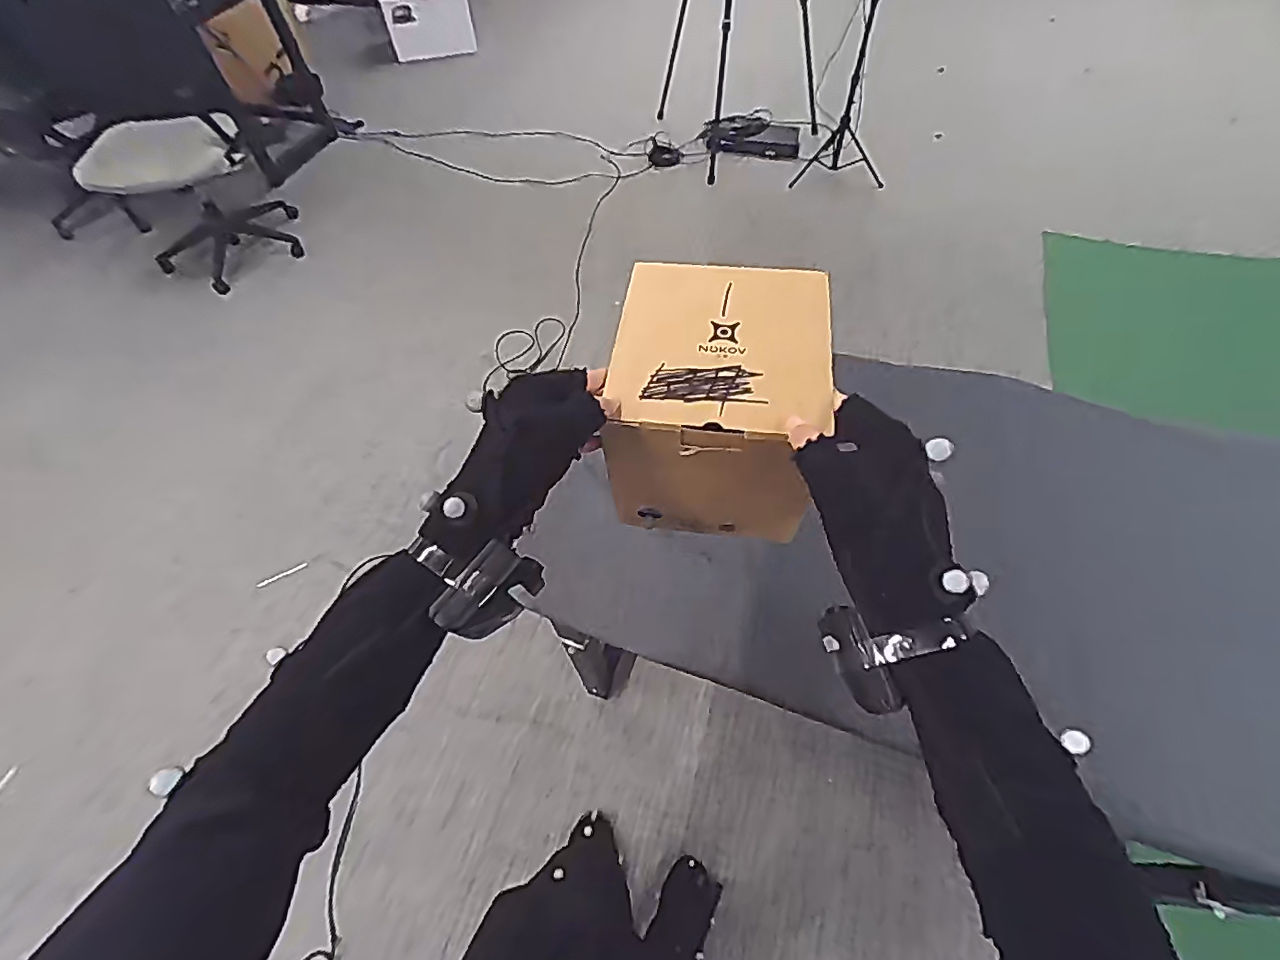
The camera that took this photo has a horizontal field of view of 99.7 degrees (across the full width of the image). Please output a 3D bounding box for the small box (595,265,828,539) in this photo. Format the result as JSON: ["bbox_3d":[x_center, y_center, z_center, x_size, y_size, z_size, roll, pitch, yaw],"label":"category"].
[{"bbox_3d":[0.065,-0.063,0.483,0.168,0.176,0.179,6,58,7],"label":"small box"}]
